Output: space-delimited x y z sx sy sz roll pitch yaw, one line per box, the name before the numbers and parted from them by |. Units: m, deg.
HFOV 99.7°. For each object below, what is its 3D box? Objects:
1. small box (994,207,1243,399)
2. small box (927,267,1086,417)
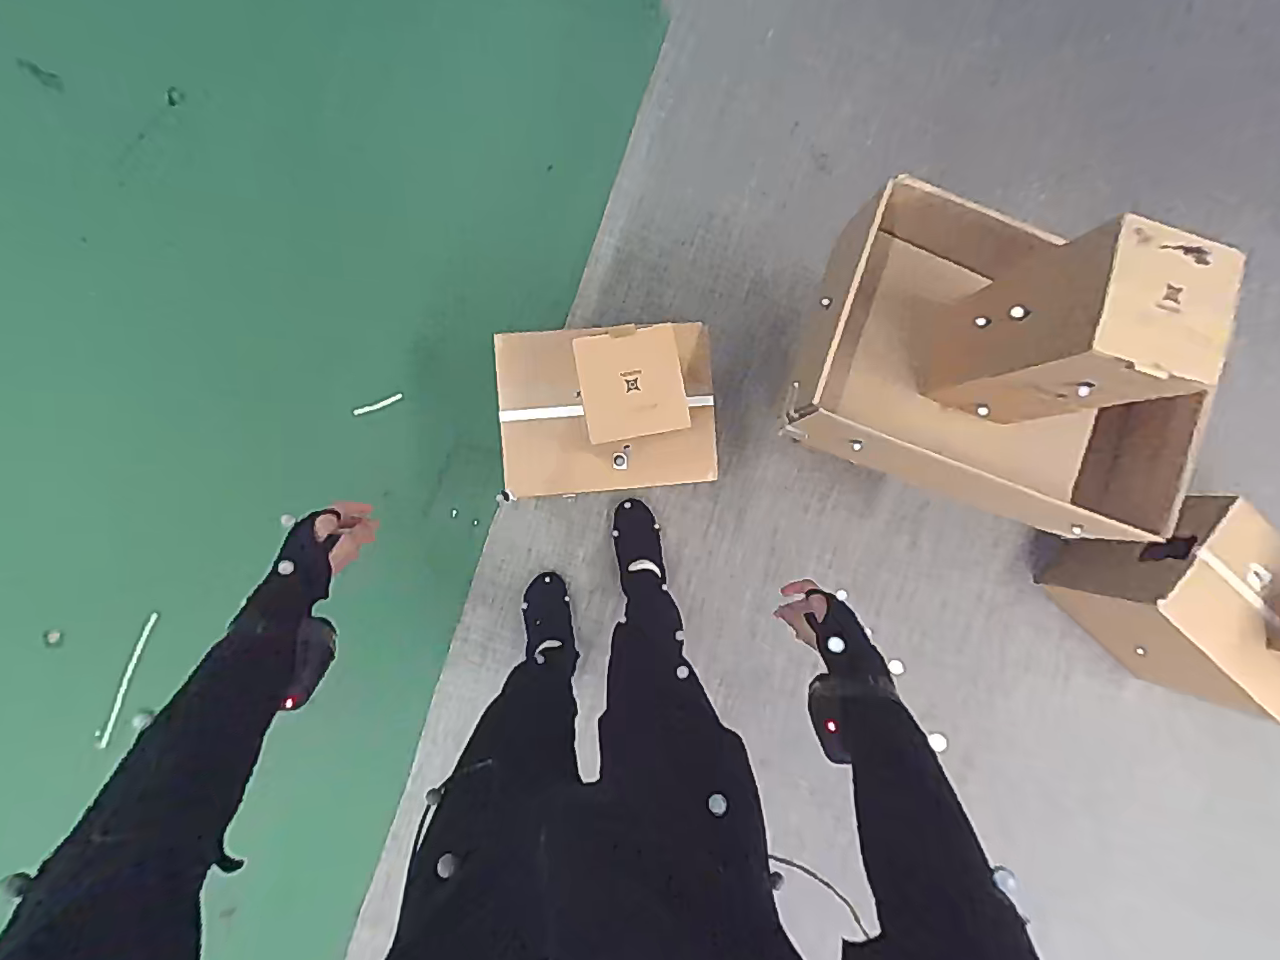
small box | 0.618 -0.219 0.723 0.168 0.176 0.179 16 89 -5
small box | 0.609 -0.216 0.887 0.168 0.176 0.179 18 88 -4
